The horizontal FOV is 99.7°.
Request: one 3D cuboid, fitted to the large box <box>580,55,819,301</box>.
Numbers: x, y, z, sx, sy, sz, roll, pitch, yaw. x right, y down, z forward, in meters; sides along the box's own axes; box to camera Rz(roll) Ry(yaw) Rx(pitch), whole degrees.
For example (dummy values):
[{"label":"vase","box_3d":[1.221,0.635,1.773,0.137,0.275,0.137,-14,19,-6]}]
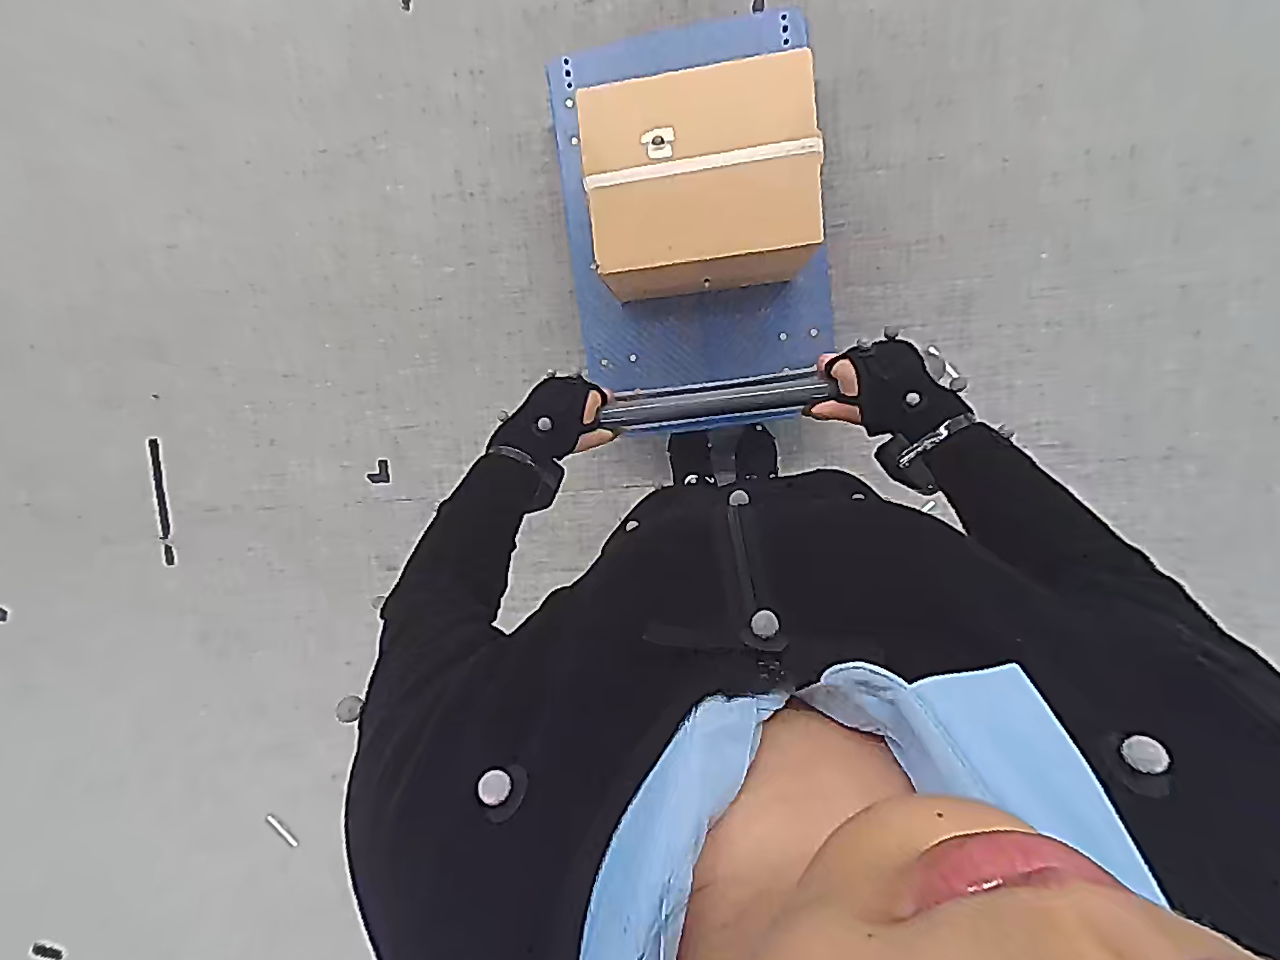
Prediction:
[{"label":"large box","box_3d":[0.123,-0.573,1.107,0.408,0.320,0.320,-6,97,8]}]
